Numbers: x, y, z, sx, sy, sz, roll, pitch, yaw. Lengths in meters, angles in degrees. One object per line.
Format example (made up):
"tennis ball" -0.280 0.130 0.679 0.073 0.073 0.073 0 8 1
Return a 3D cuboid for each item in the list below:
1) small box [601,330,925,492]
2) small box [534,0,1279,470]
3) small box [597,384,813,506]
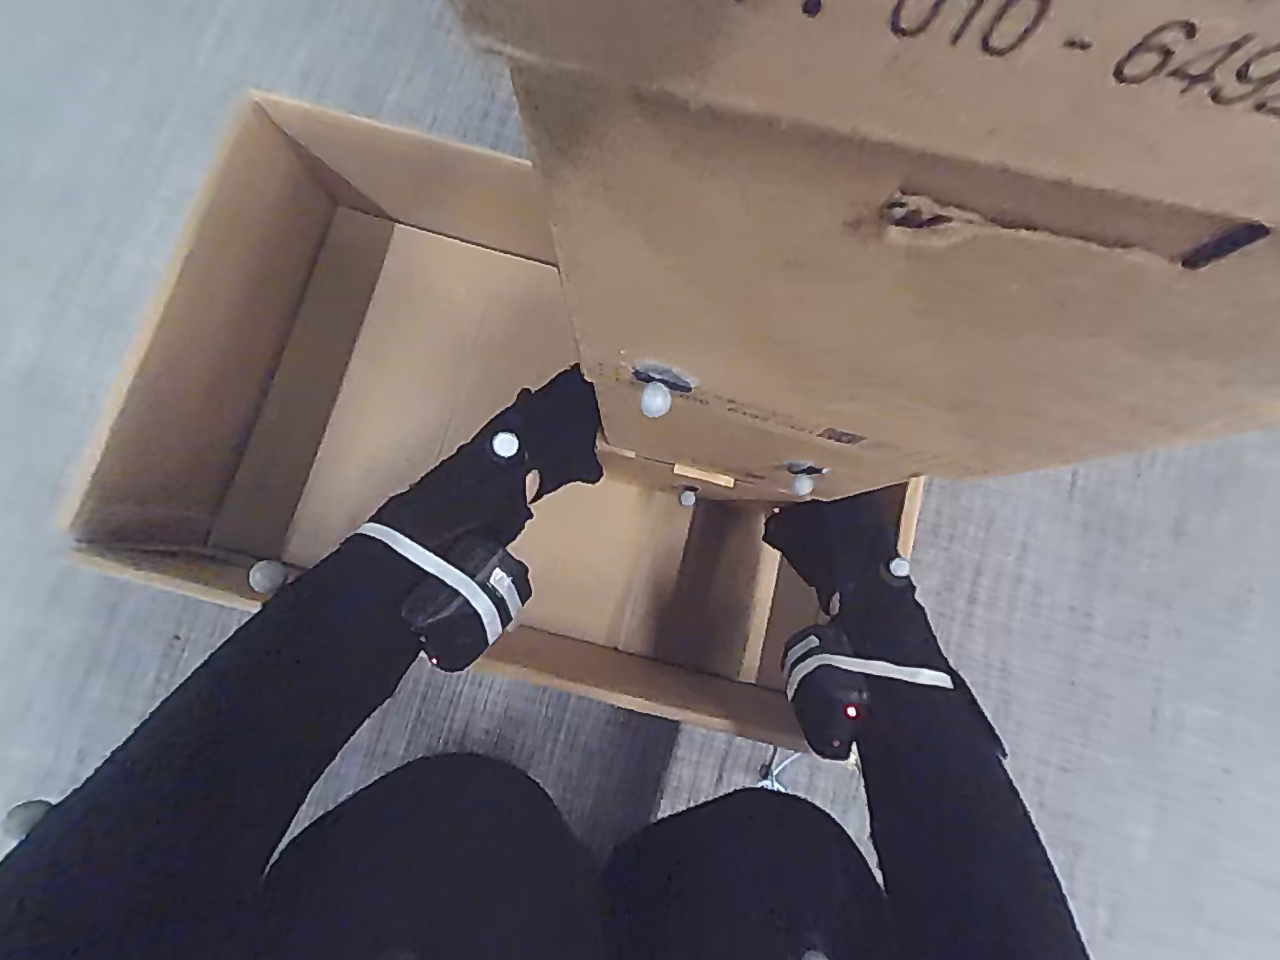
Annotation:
"small box" 0.084 -0.099 0.300 0.168 0.176 0.179 15 83 0
"small box" 0.085 -0.111 0.153 0.168 0.176 0.179 16 83 0
"small box" 0.064 -0.078 0.480 0.168 0.176 0.179 10 82 1
